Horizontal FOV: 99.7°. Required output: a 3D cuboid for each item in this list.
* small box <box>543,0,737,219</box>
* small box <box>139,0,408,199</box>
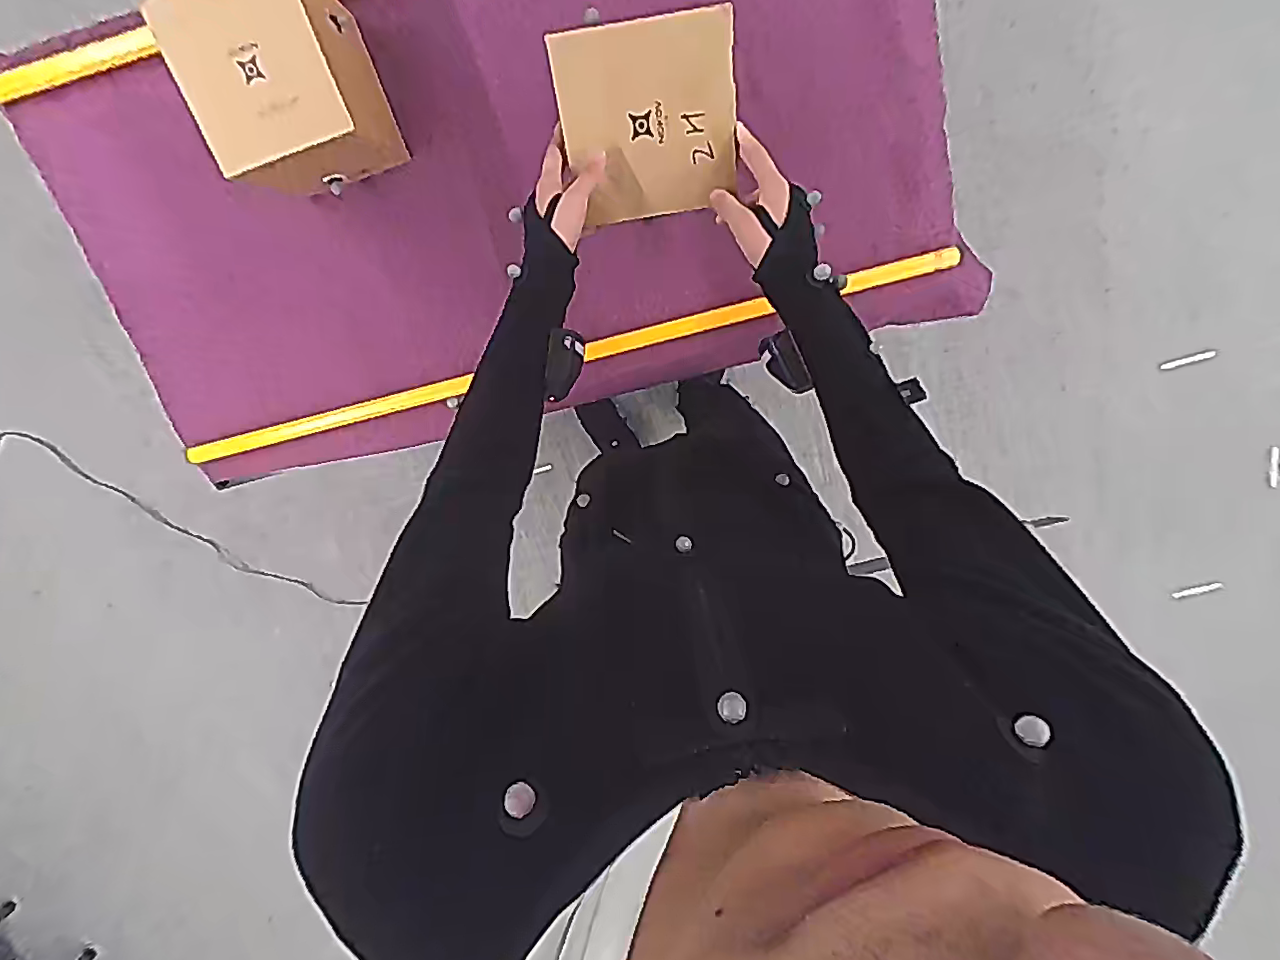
[{"bbox_3d":[0.004,-0.400,0.599,0.179,0.176,0.168,-9,124,2],"label":"small box"},{"bbox_3d":[-0.416,-0.467,0.650,0.168,0.176,0.179,-17,108,5],"label":"small box"}]
